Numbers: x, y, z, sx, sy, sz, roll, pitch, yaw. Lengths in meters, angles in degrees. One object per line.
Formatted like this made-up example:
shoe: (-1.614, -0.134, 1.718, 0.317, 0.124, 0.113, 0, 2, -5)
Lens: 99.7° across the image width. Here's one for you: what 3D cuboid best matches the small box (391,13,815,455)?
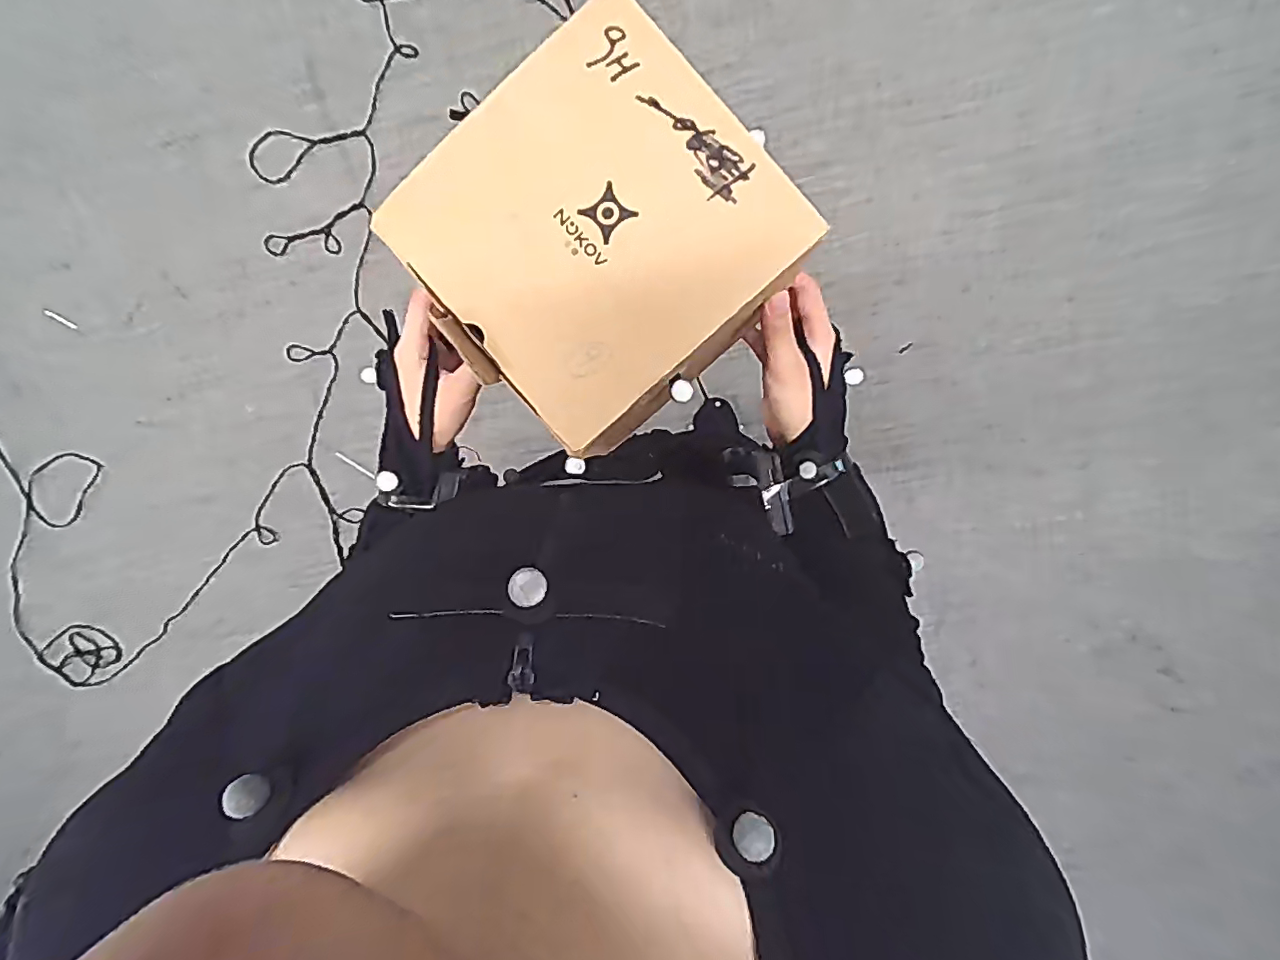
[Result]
small box: (-0.017, -0.133, 0.369, 0.179, 0.176, 0.168, -42, 91, 5)
